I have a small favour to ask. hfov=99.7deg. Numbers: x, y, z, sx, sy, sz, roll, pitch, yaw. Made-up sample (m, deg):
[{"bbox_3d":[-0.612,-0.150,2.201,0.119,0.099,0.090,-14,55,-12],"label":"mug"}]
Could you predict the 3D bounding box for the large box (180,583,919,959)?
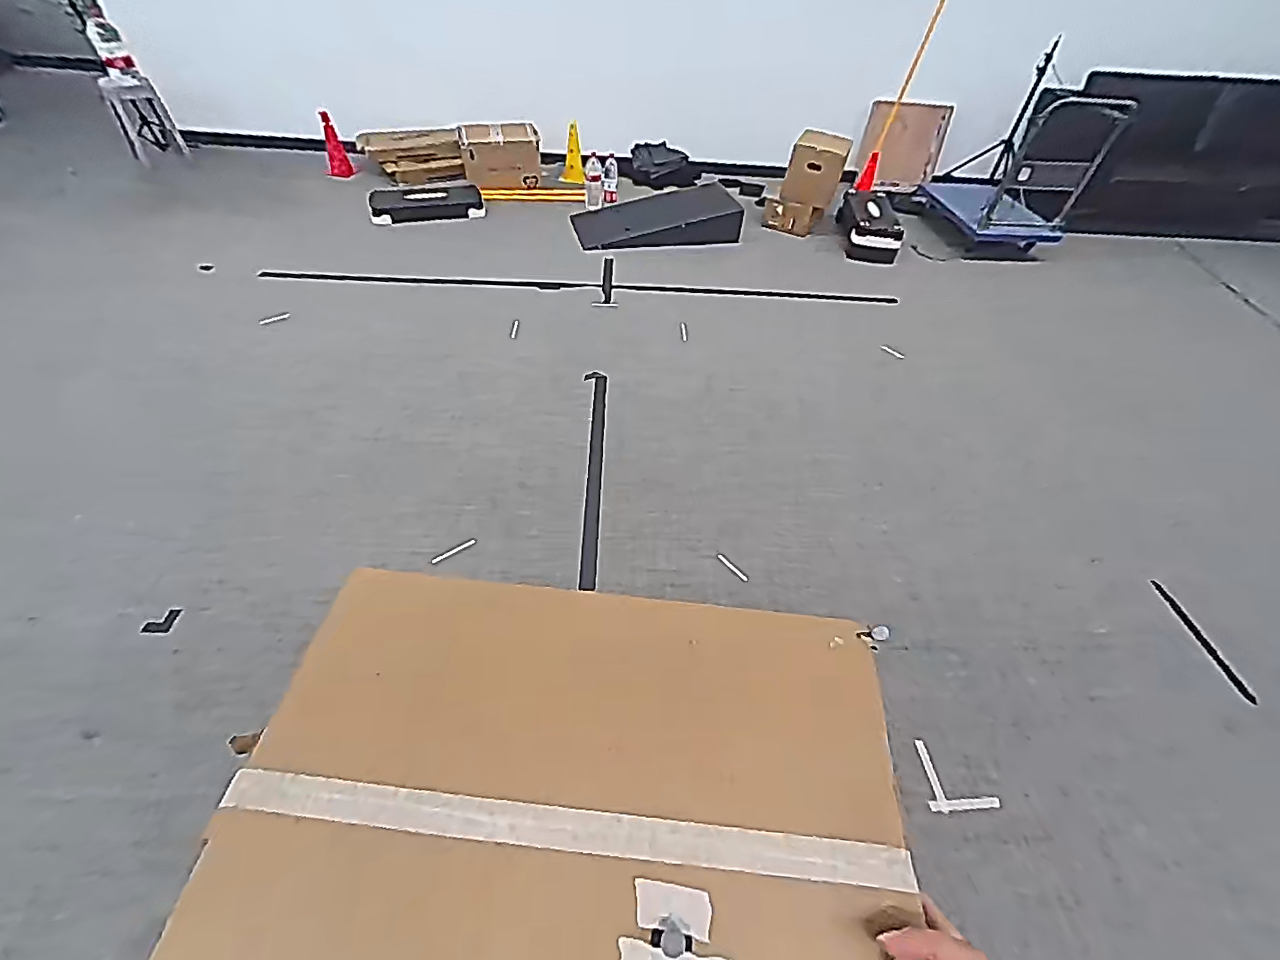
[{"bbox_3d":[-0.046,0.311,0.443,0.408,0.320,0.320,6,50,2],"label":"large box"}]
